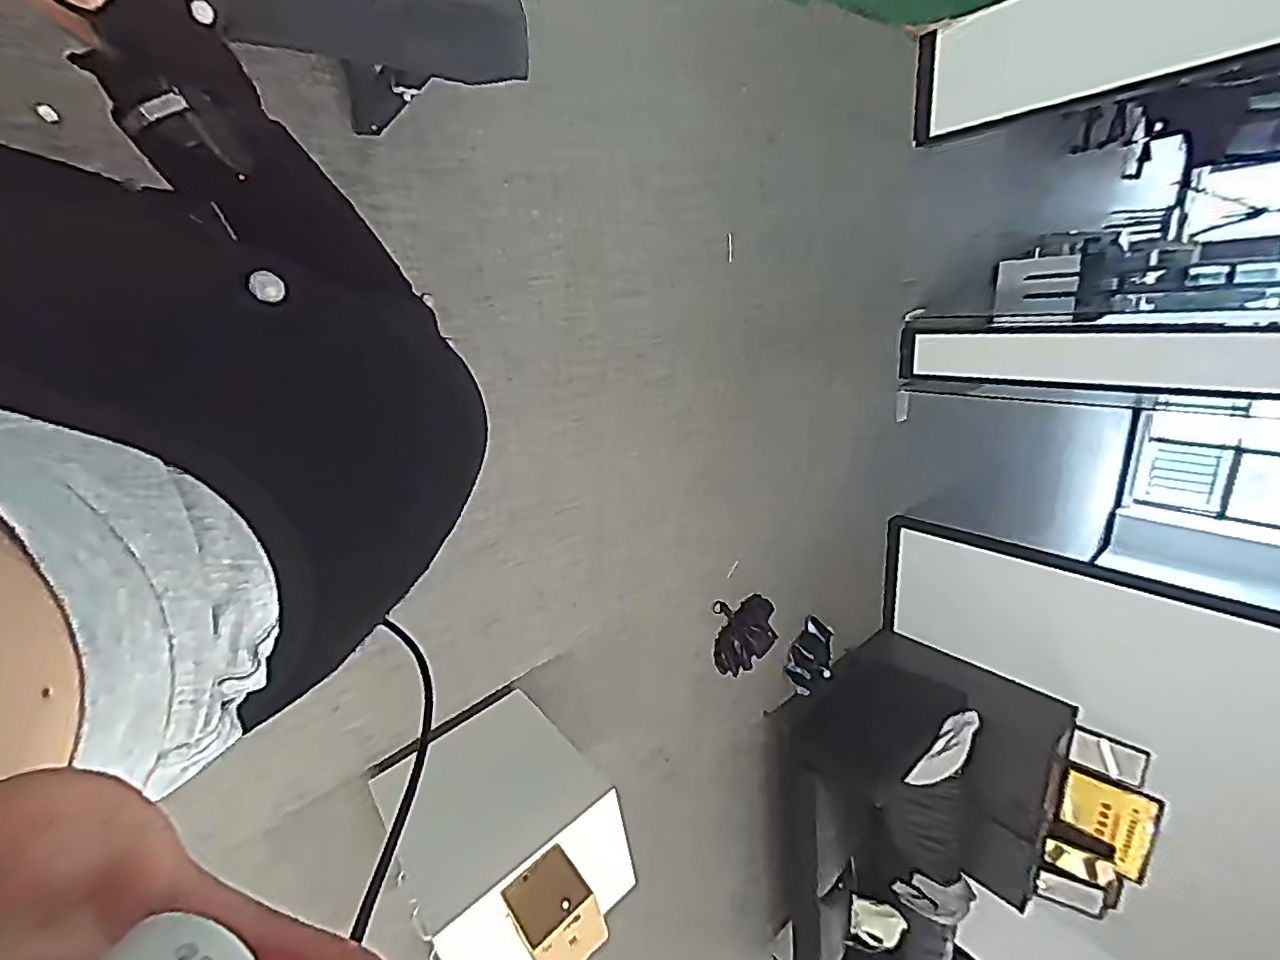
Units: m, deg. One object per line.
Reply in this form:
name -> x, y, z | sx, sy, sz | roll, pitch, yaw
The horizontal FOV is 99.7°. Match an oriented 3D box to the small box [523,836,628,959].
small box -> -0.156, 1.012, 1.300 | 0.168, 0.176, 0.179 | -29, 120, -32
